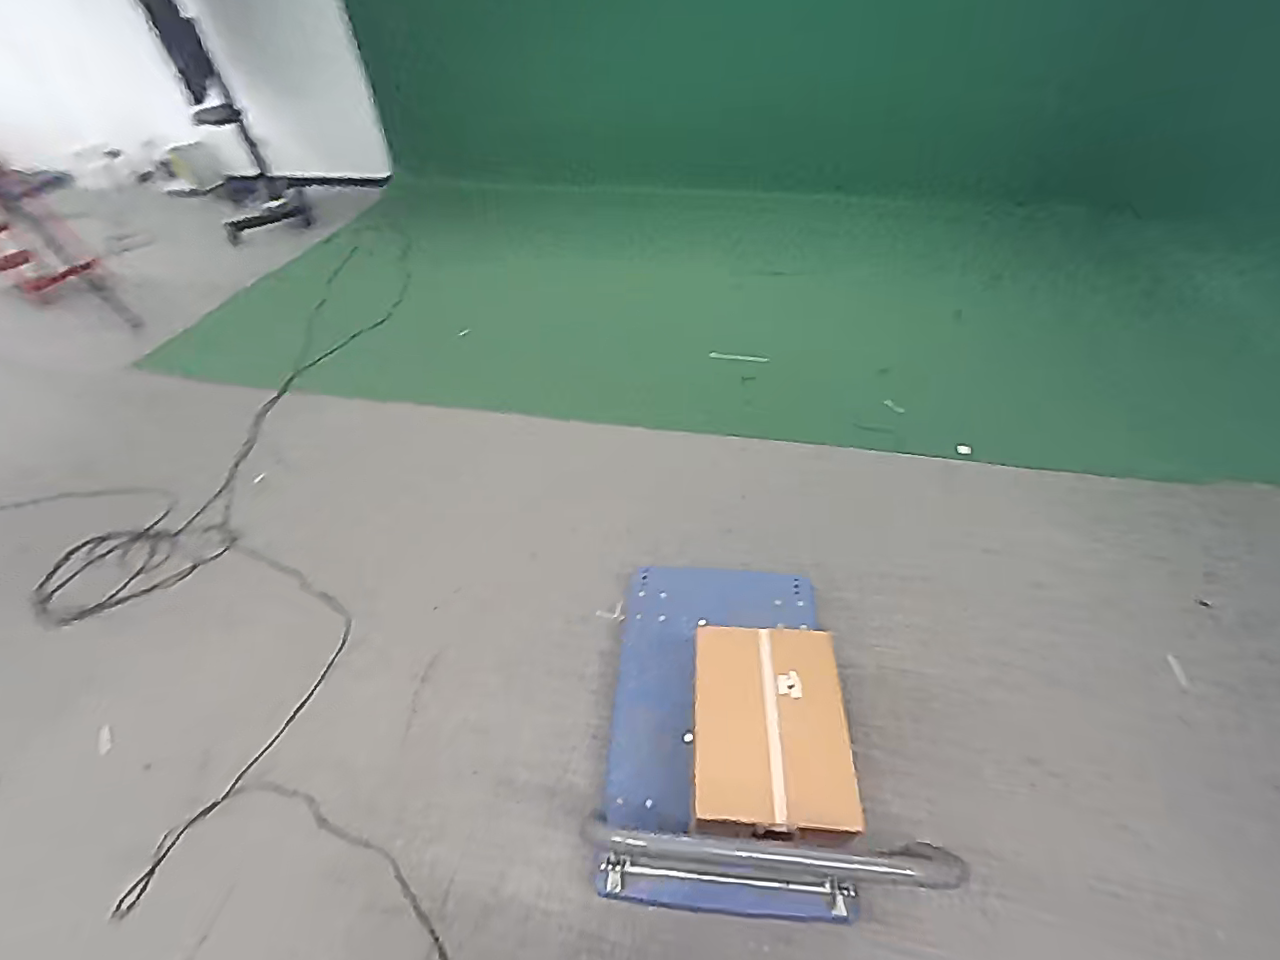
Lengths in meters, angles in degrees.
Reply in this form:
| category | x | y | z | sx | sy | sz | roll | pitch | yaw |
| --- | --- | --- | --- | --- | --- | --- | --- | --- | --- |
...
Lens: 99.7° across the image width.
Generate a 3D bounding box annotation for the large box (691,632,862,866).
| category | x | y | z | sx | sy | sz | roll | pitch | yaw |
| --- | --- | --- | --- | --- | --- | --- | --- | --- | --- |
| large box | 0.275 | 0.611 | 1.241 | 0.320 | 0.320 | 0.408 | 2 | 45 | 4 |
